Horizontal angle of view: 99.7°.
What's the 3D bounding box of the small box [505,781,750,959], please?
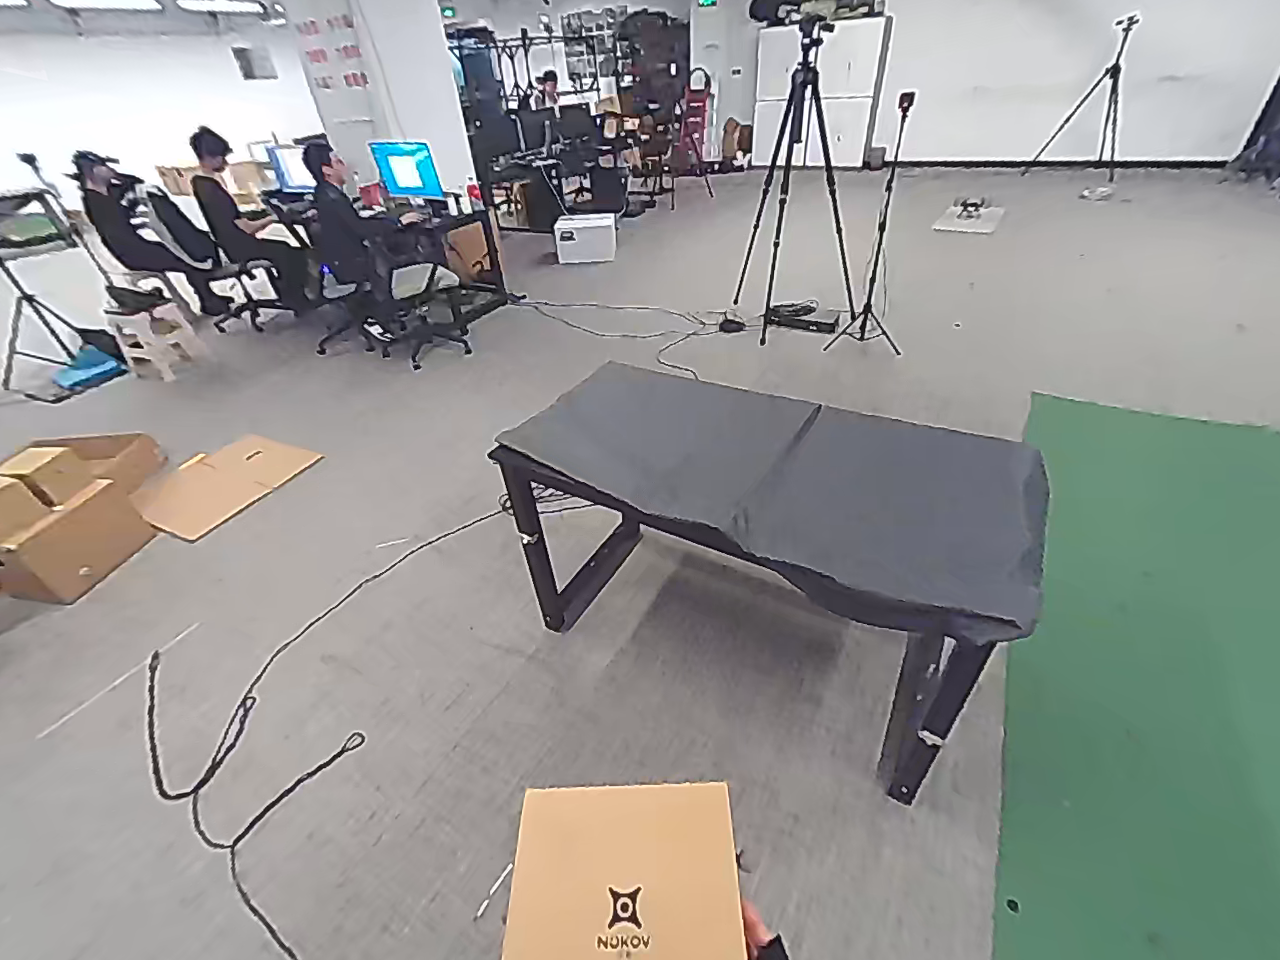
[{"bbox_3d":[-0.004,0.362,0.426,0.168,0.176,0.179,-4,43,3],"label":"small box"}]
